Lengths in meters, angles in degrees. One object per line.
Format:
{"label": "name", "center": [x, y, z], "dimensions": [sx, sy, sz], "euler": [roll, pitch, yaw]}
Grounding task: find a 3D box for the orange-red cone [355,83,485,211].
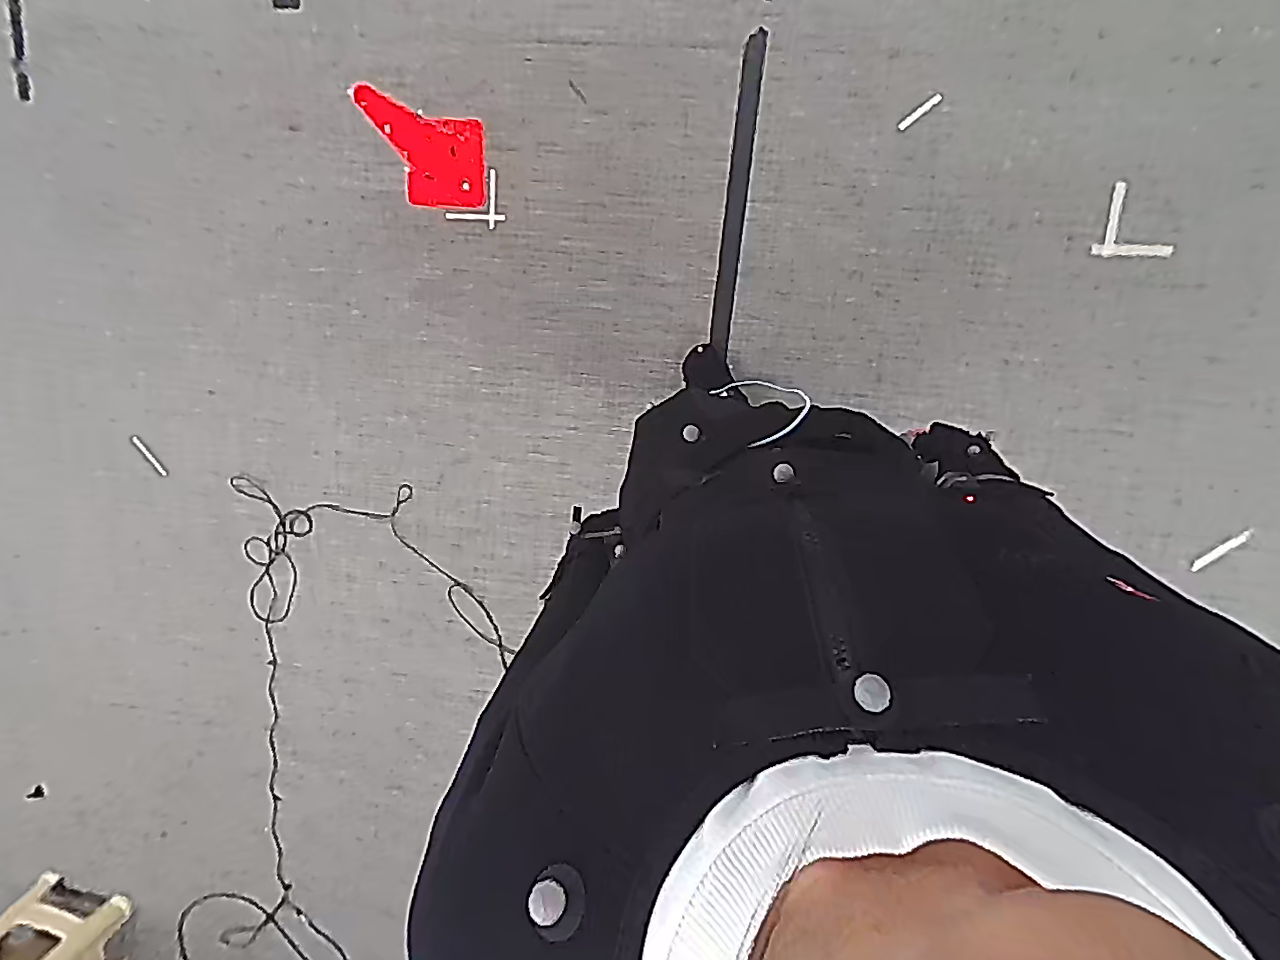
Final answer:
{"label": "orange-red cone", "center": [-0.494, -0.743, 1.163], "dimensions": [0.198, 0.360, 0.199], "euler": [5, 100, 3]}
